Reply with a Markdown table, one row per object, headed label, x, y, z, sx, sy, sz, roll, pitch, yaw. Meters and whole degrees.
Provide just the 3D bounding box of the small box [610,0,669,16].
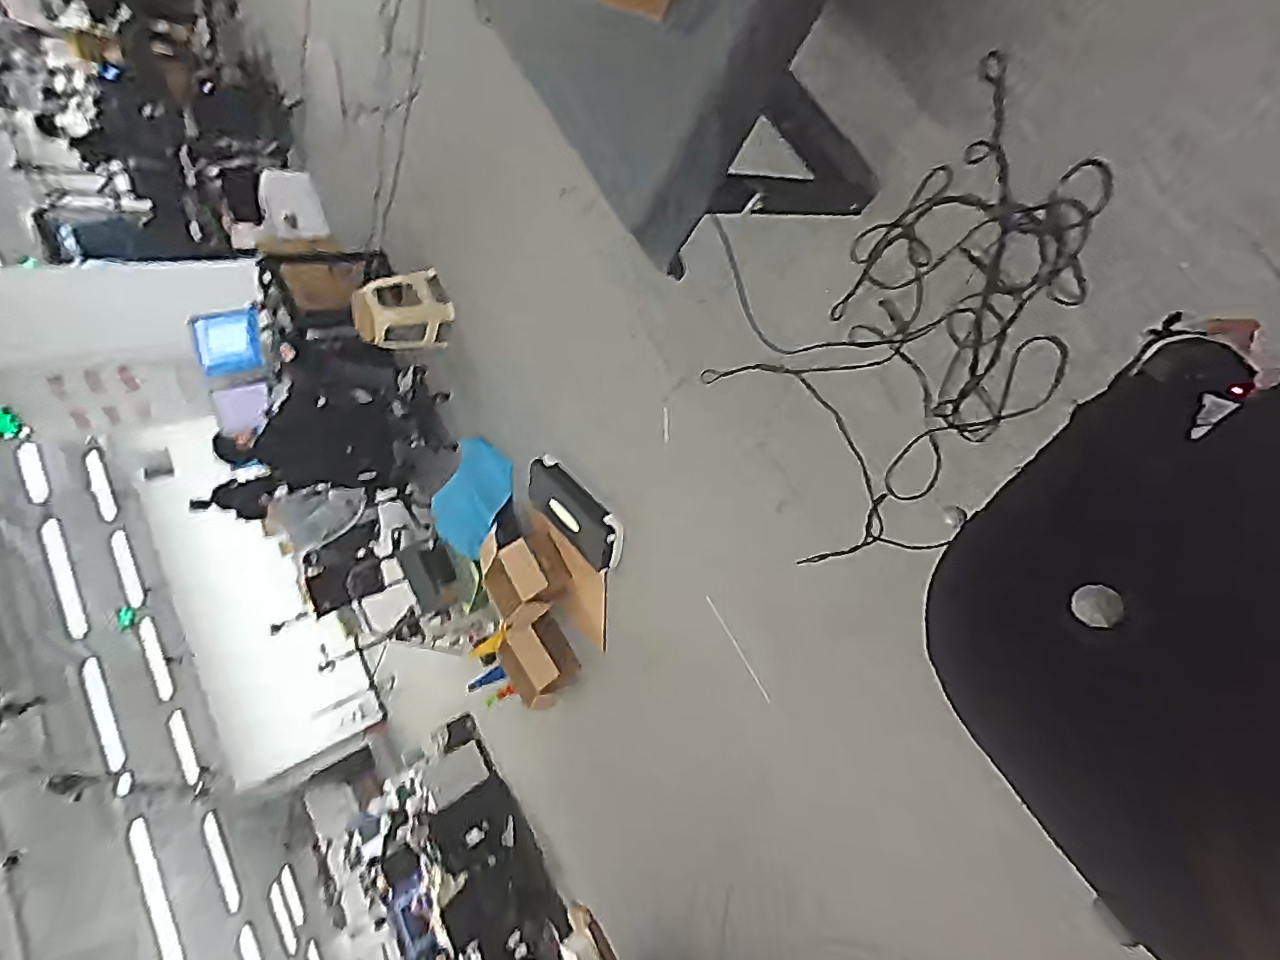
| label | x | y | z | sx | sy | sz | roll | pitch | yaw |
| --- | --- | --- | --- | --- | --- | --- | --- | --- | --- |
| small box | -0.029 | -0.711 | 0.646 | 0.168 | 0.176 | 0.179 | 60 | 142 | 14 |
